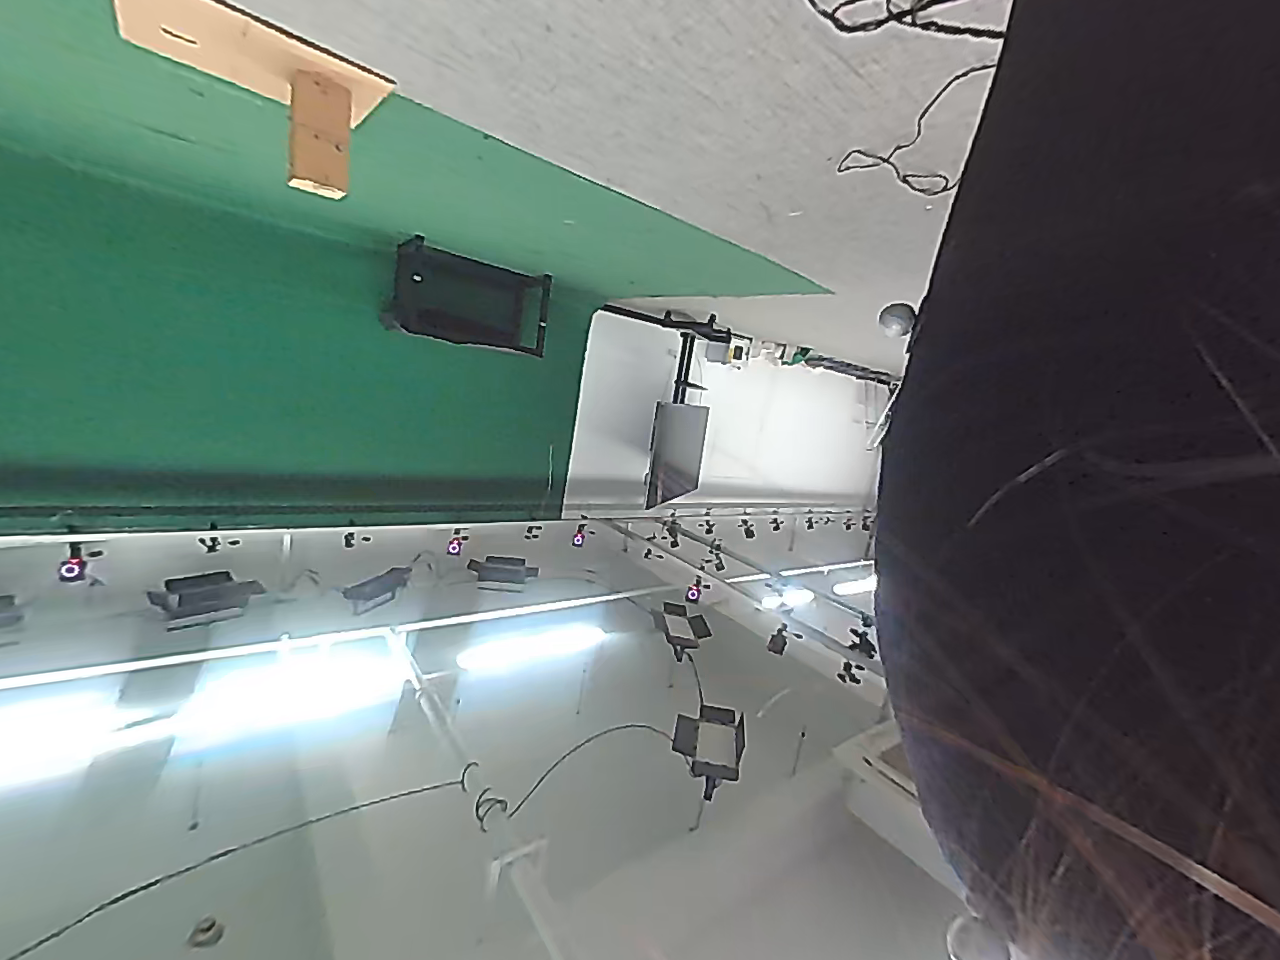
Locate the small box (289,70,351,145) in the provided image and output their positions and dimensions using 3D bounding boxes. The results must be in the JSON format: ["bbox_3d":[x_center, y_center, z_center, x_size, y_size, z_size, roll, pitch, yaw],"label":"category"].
[{"bbox_3d":[-1.136,-1.307,1.920,0.168,0.176,0.179,0,-166,-39],"label":"small box"}]

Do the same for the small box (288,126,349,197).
[{"bbox_3d":[-1.161,-1.148,1.951,0.168,0.176,0.179,0,-165,-41],"label":"small box"}]
